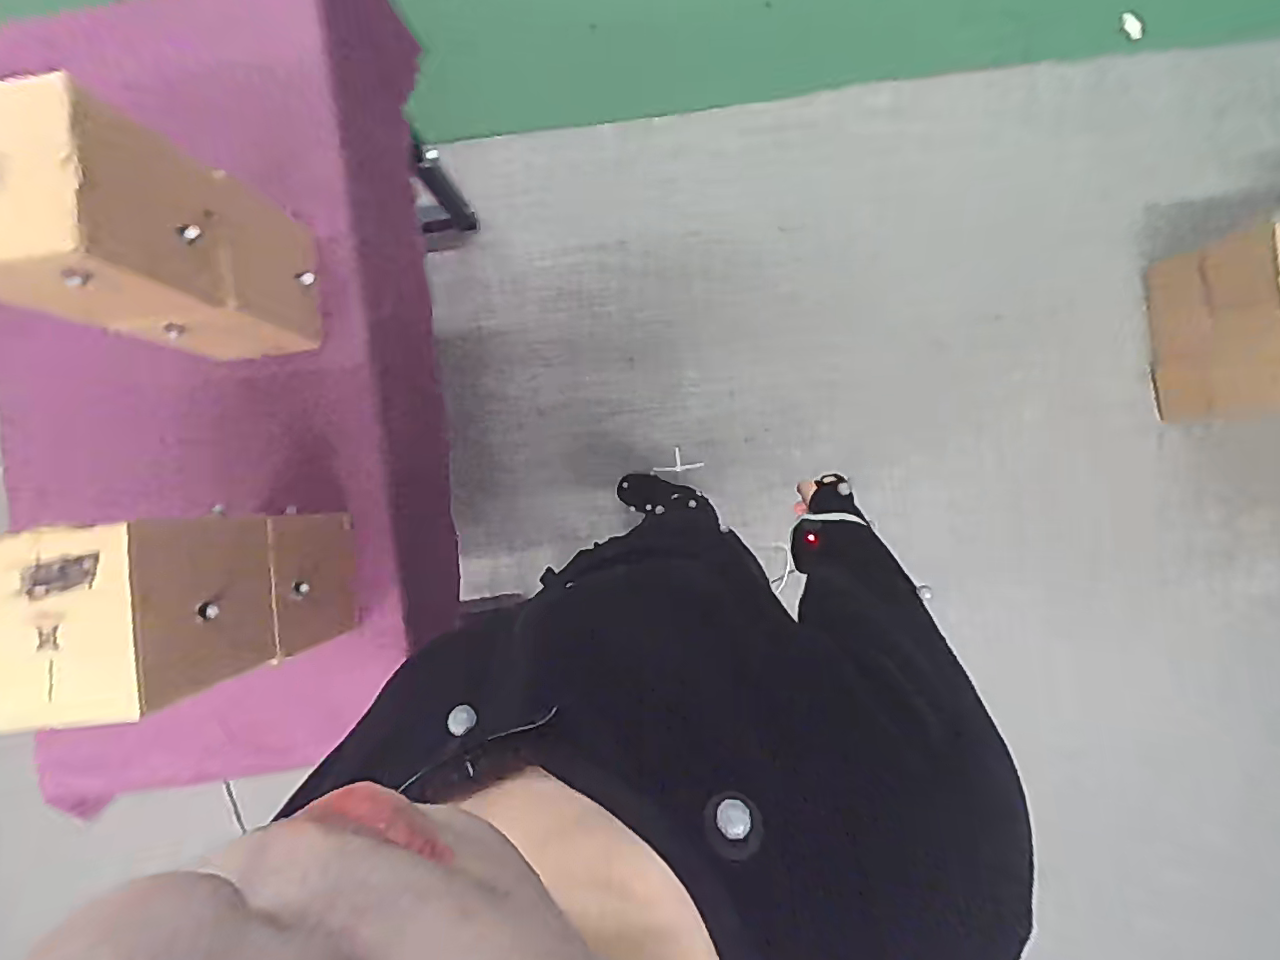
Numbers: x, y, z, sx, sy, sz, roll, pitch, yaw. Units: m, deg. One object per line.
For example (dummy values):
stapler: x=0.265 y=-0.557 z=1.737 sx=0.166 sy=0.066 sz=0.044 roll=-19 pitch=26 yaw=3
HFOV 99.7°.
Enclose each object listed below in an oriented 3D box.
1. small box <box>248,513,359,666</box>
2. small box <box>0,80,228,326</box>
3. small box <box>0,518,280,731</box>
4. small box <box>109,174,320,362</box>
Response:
small box: x=-0.503 y=0.141 z=0.728 sx=0.168 sy=0.176 sz=0.179 roll=-6 pitch=88 yaw=3
small box: x=-0.591 y=-0.273 z=0.574 sx=0.179 sy=0.176 sz=0.168 roll=-6 pitch=90 yaw=3
small box: x=-0.516 y=0.134 z=0.565 sx=0.168 sy=0.176 sz=0.179 roll=-6 pitch=90 yaw=3
small box: x=-0.571 y=-0.275 z=0.736 sx=0.168 sy=0.176 sz=0.179 roll=-7 pitch=88 yaw=4
